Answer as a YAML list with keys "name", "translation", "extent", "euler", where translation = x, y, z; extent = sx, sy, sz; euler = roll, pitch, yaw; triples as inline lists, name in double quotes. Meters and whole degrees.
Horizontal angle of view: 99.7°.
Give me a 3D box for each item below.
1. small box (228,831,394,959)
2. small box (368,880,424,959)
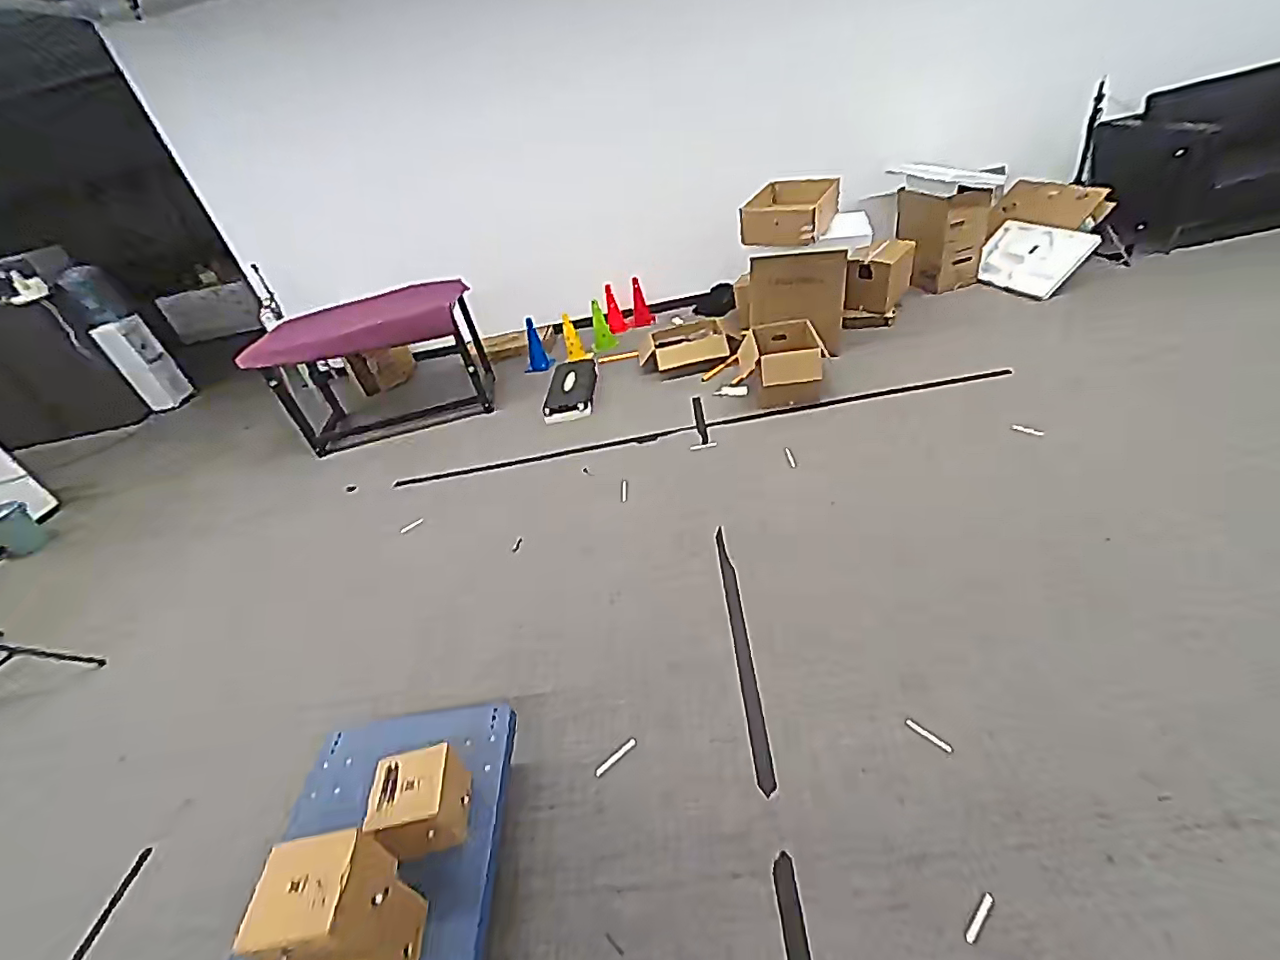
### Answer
- name: "small box"
  translation: [-0.596, 0.793, 1.007]
  extent: [0.179, 0.176, 0.168]
  euler: [-12, 35, 1]
- name: "small box"
  translation: [-0.563, 0.939, 1.080]
  extent: [0.179, 0.176, 0.168]
  euler: [-12, 35, 1]
